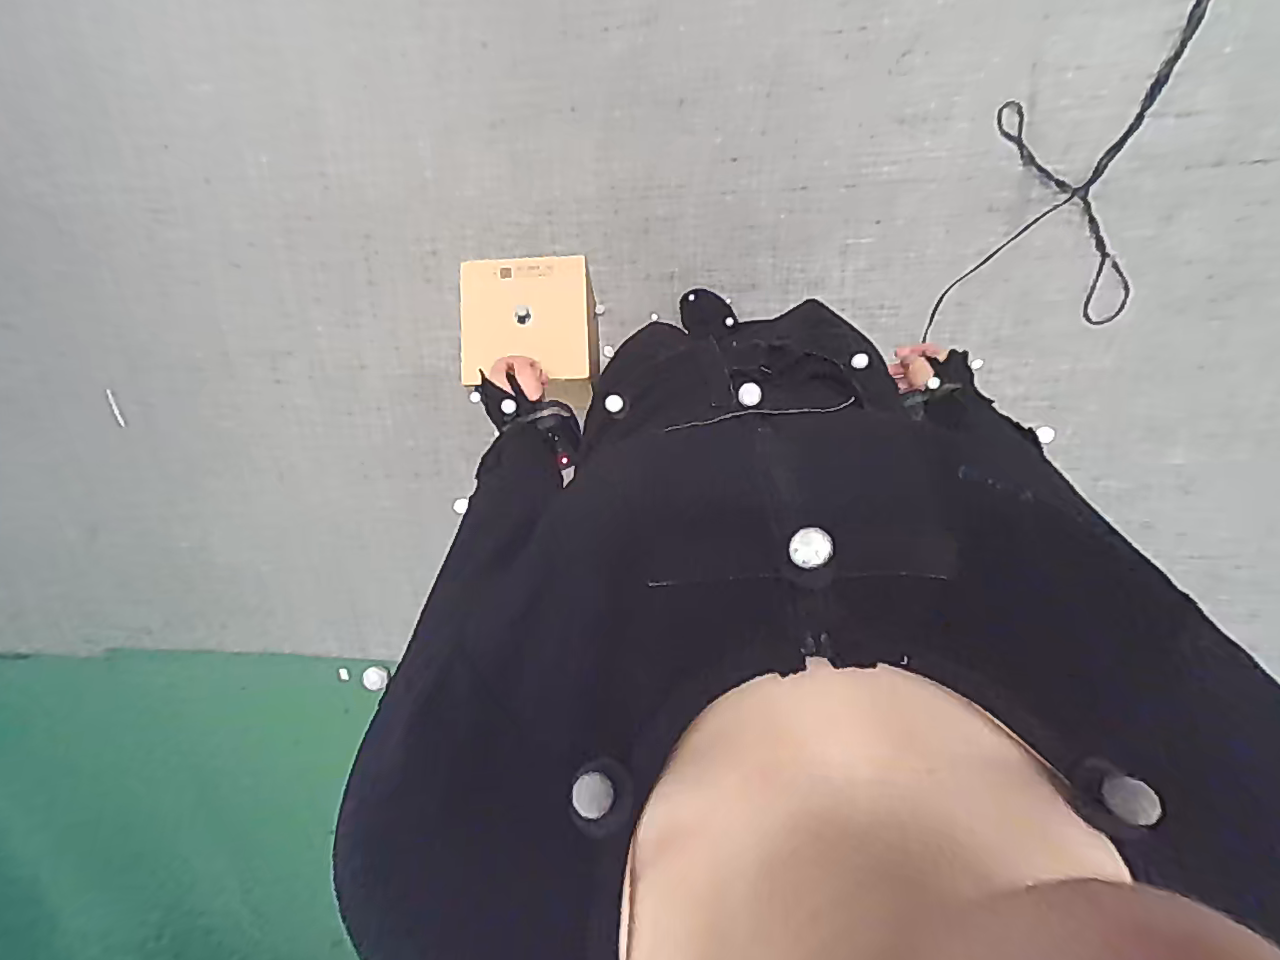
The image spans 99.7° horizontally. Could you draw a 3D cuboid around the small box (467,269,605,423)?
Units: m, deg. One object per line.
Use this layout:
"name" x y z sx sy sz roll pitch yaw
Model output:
"small box" -0.142 -0.189 0.778 0.168 0.179 0.176 -3 83 1
